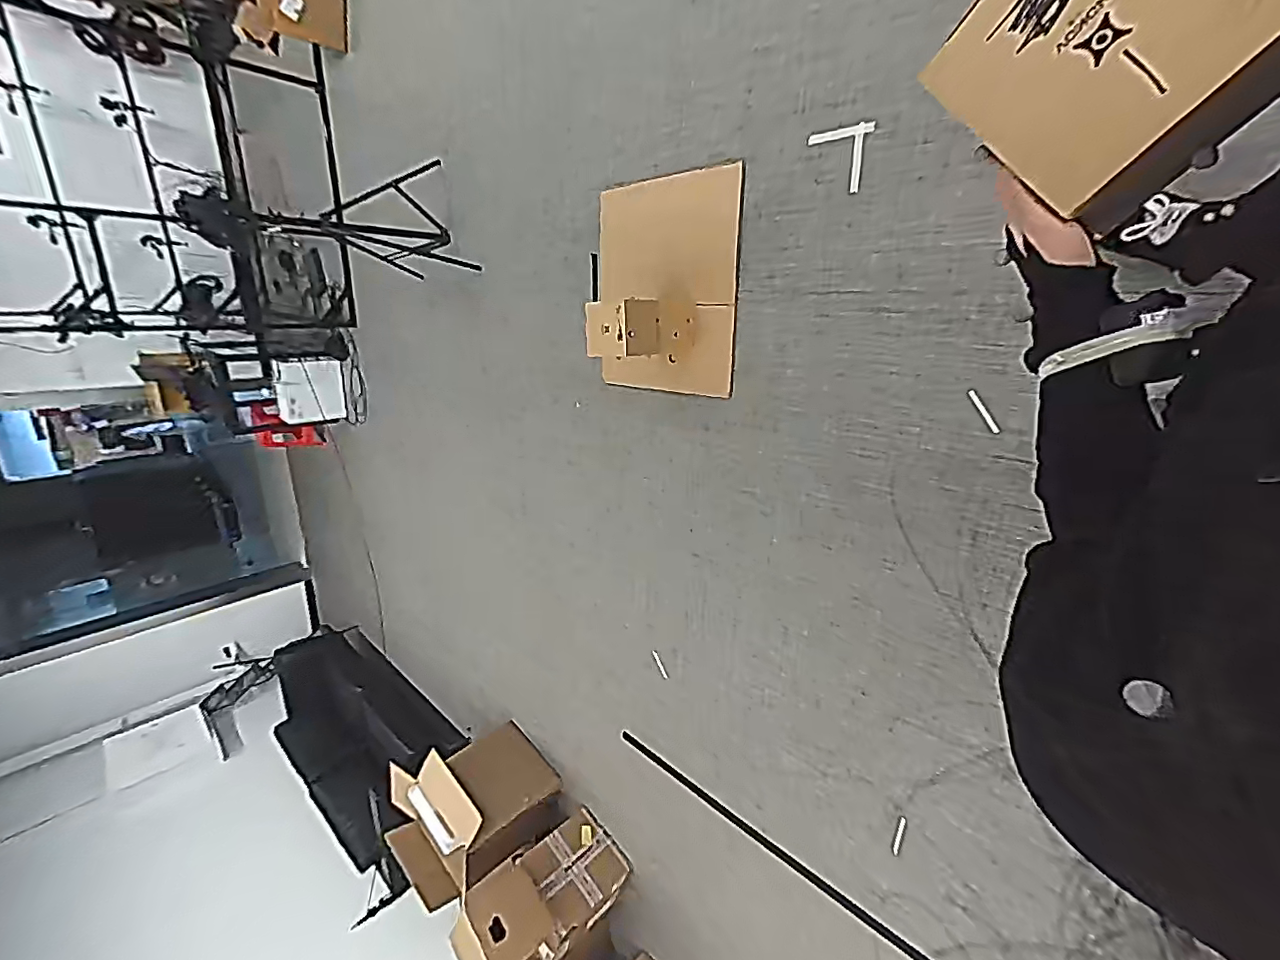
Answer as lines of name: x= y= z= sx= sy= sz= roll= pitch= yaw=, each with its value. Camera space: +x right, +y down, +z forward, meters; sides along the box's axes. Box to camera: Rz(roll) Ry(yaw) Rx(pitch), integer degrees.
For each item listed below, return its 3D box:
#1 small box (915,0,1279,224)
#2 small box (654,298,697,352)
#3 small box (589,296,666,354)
small box: x=0.366 y=-0.325 z=0.423 sx=0.179 sy=0.176 sz=0.168 roll=59 pitch=138 yaw=16
small box: x=0.076 y=-0.519 z=1.809 sx=0.179 sy=0.176 sz=0.168 roll=14 pitch=112 yaw=41
small box: x=-0.039 y=-0.484 z=1.696 sx=0.179 sy=0.176 sz=0.168 roll=12 pitch=111 yaw=42
